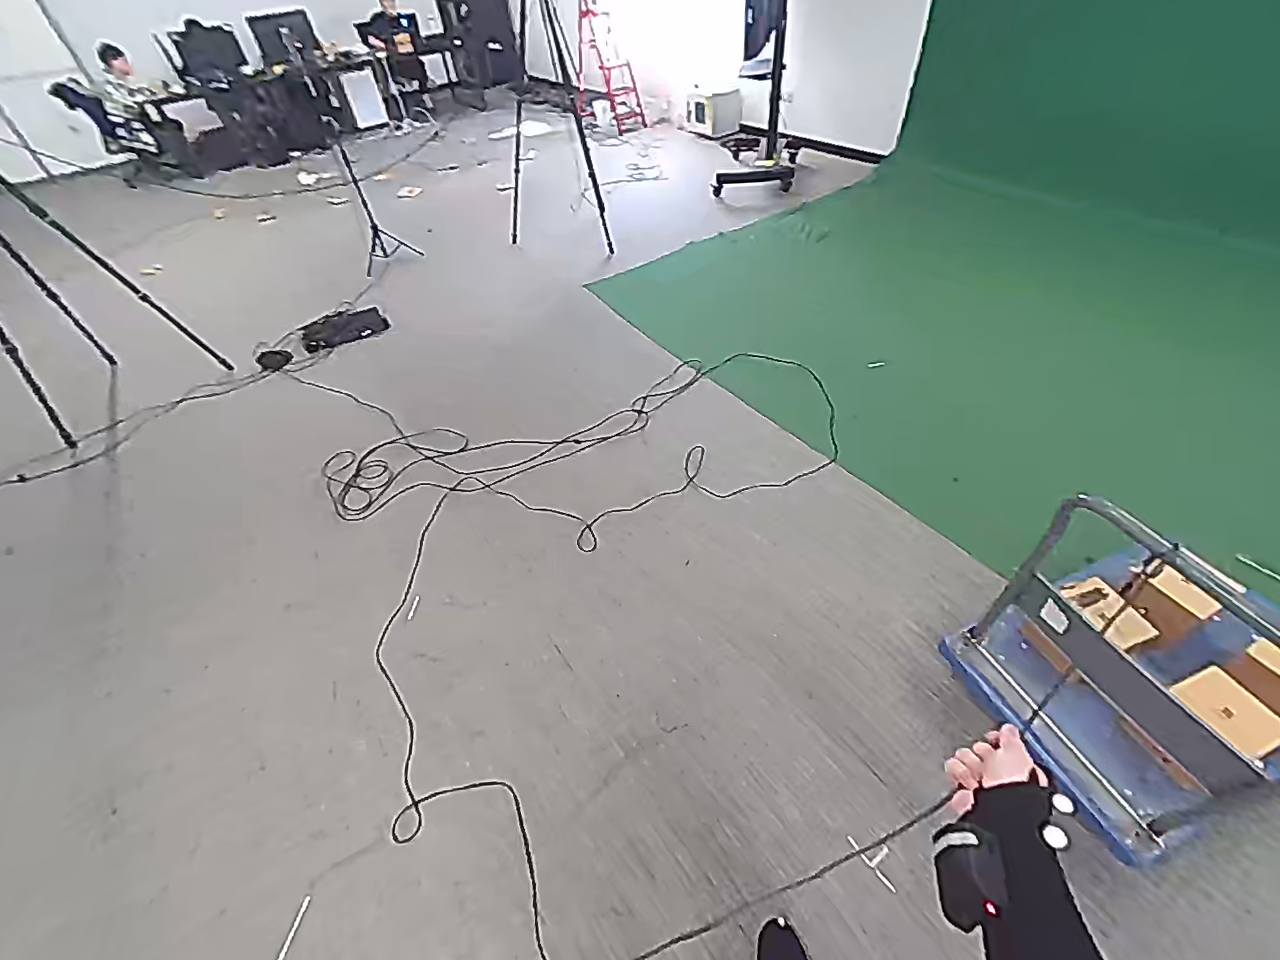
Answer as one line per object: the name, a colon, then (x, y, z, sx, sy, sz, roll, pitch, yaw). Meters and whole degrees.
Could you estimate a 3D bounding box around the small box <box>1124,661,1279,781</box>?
small box: (1.265, 0.545, 1.219, 0.179, 0.176, 0.168, -19, 48, -10)

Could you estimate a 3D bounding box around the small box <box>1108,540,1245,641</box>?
small box: (1.404, 0.297, 1.434, 0.179, 0.176, 0.168, -23, 49, -14)

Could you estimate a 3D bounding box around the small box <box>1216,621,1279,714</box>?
small box: (1.514, 0.453, 1.271, 0.179, 0.176, 0.168, -23, 47, -13)
